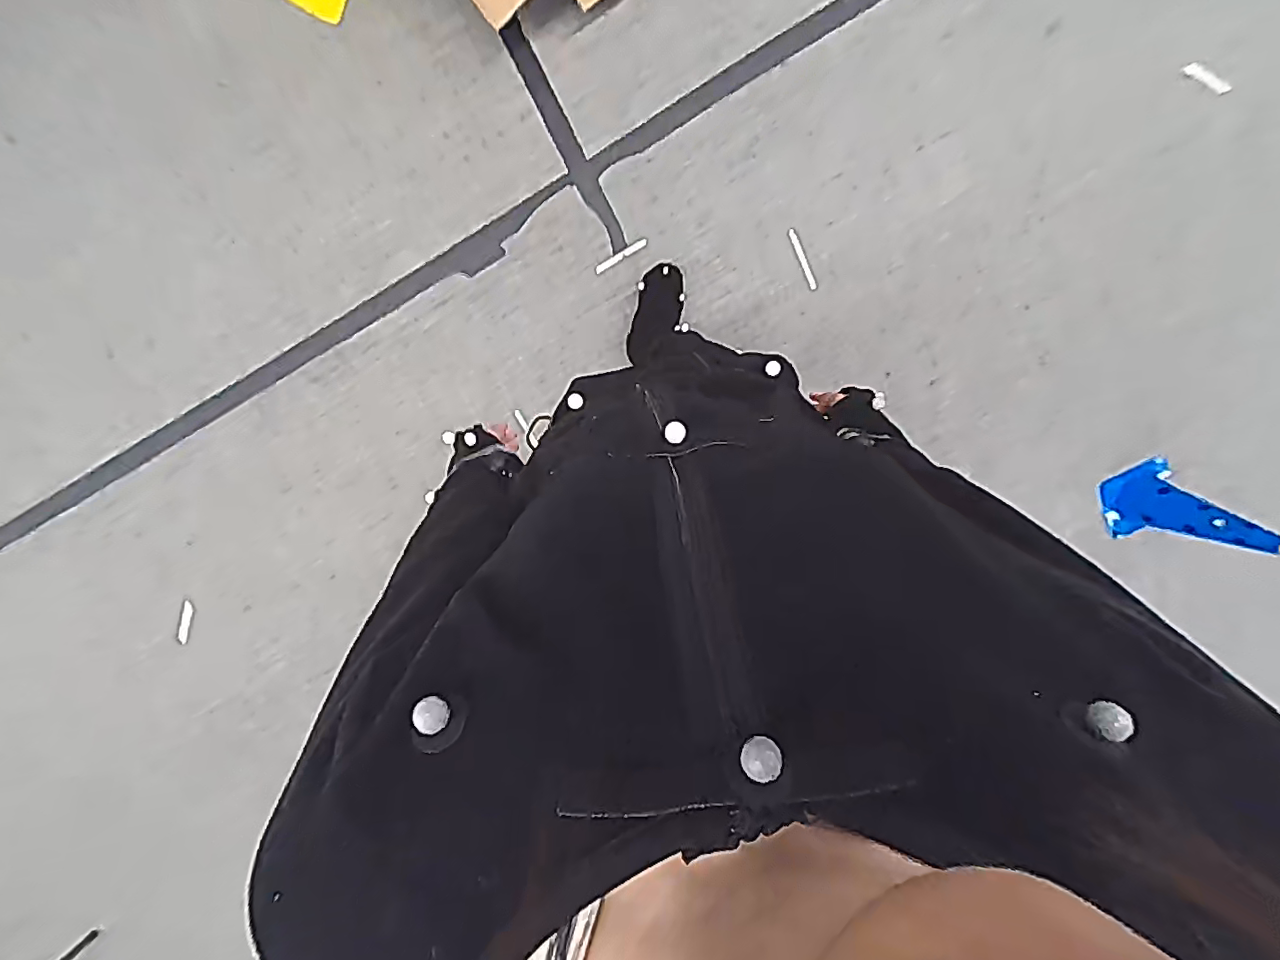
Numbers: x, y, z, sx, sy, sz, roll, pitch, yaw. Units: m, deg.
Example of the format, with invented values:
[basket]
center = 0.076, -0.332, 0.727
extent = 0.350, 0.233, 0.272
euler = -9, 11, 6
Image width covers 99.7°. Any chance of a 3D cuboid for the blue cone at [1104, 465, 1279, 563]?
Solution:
[blue cone]
center = 1.446, 0.110, 1.398
extent = 0.193, 0.380, 0.192
euler = -25, 107, 4
